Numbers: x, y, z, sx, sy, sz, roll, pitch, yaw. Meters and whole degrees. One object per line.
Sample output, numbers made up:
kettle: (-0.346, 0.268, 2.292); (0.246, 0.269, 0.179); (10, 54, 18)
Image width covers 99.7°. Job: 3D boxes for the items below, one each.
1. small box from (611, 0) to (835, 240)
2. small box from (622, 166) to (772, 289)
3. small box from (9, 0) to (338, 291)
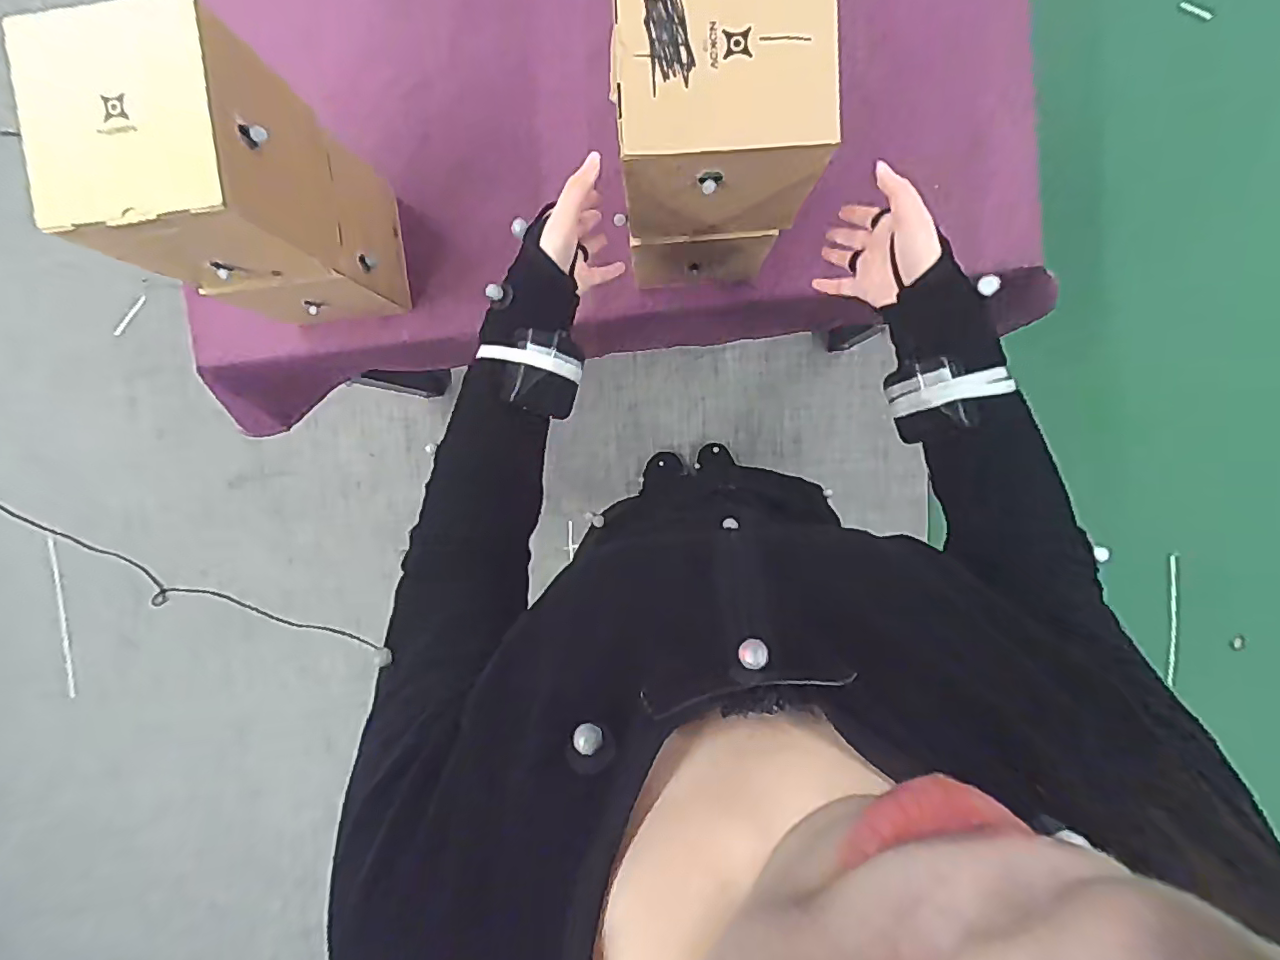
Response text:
small box: (0.069, -0.341, 0.510); (0.179, 0.176, 0.168); (-2, 93, 1)
small box: (0.066, -0.347, 0.674); (0.168, 0.176, 0.179); (-3, 93, 1)
small box: (-0.427, -0.302, 0.526); (0.168, 0.176, 0.179); (-6, 93, 2)
